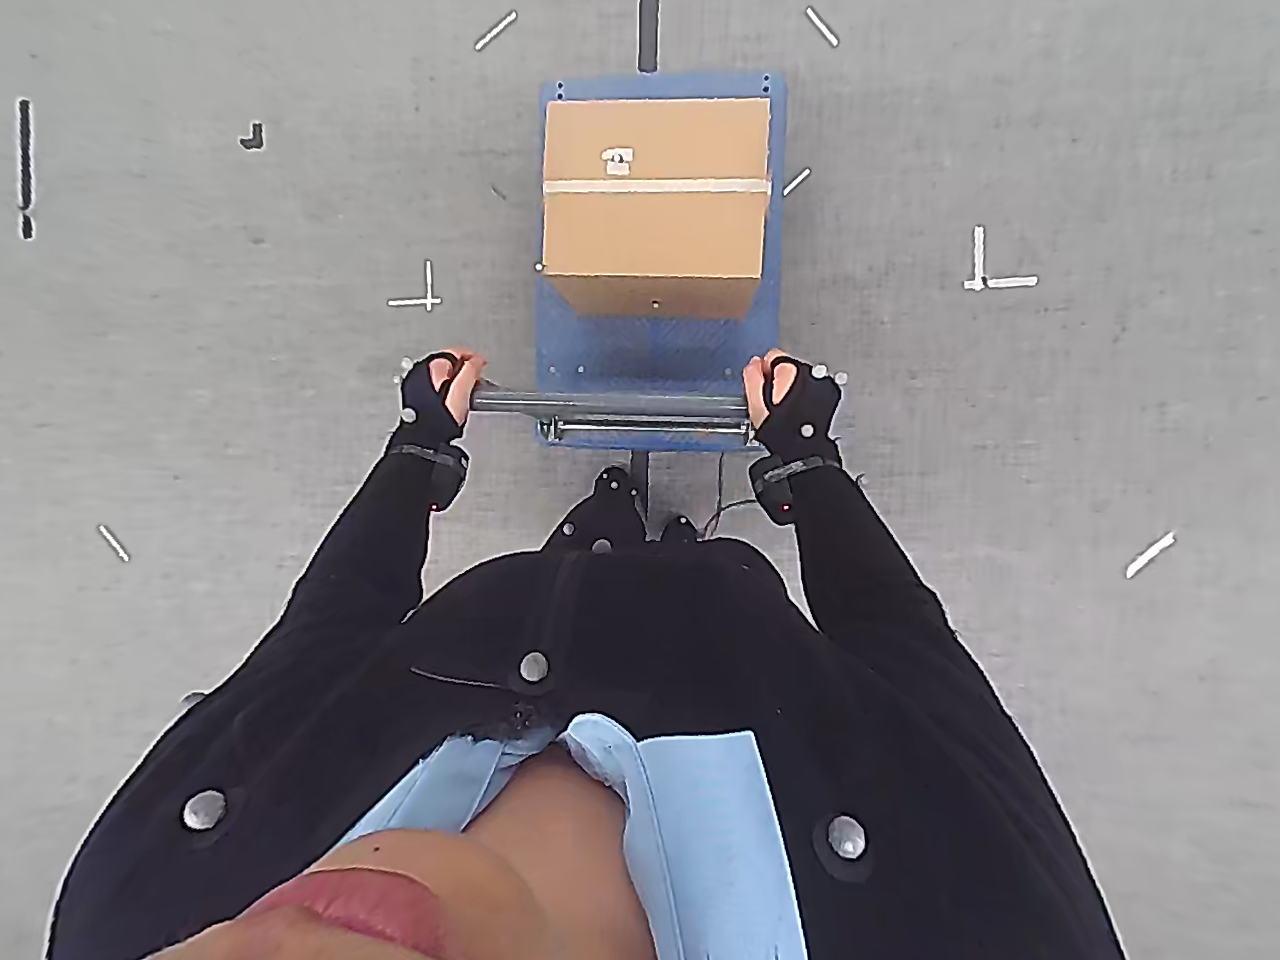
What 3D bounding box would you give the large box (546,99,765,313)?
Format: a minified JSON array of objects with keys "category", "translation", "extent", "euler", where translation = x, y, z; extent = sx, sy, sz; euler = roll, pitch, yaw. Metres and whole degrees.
[{"category":"large box","translation":[0.041,-0.542,1.141],"extent":[0.408,0.320,0.320],"euler":[2,92,6]}]
